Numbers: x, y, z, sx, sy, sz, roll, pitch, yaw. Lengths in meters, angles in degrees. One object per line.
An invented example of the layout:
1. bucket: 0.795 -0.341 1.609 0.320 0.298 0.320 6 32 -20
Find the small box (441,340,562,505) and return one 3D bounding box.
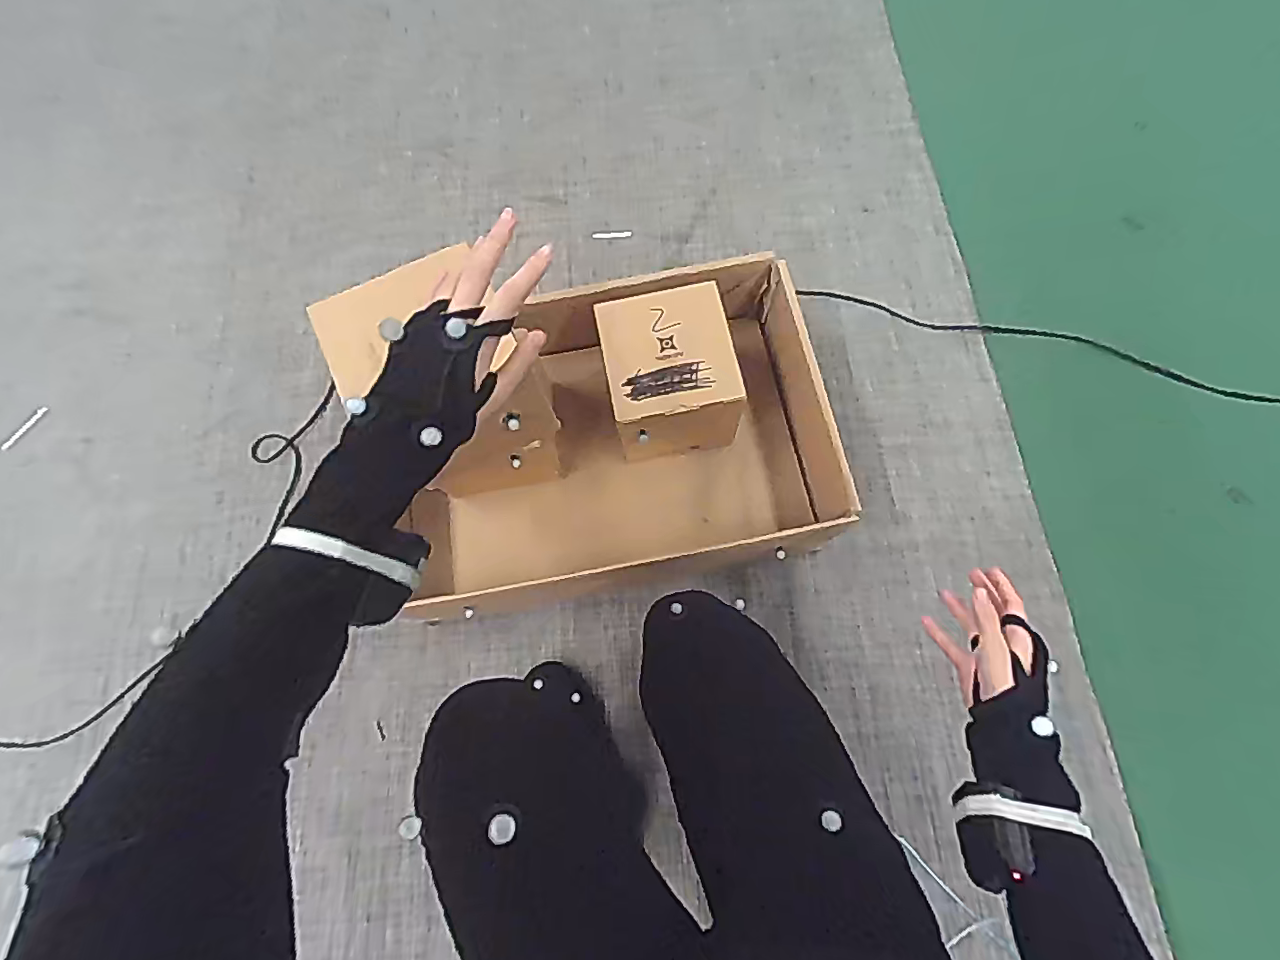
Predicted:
1. small box: -0.218 -0.071 0.765 0.179 0.176 0.168 -10 74 -1

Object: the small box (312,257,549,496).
1. small box: -0.214 -0.103 0.604 0.179 0.176 0.168 -26 74 -5
